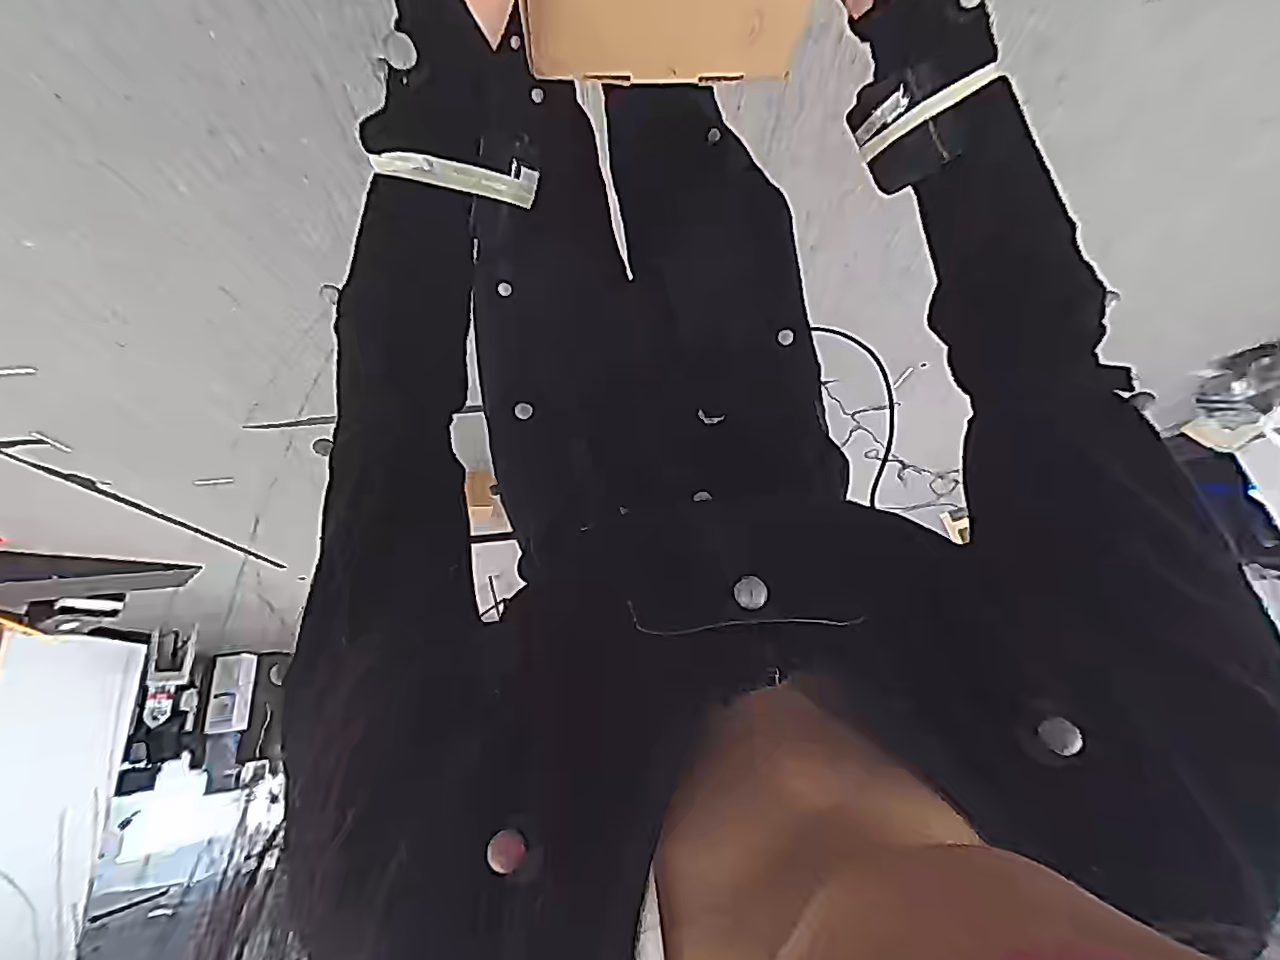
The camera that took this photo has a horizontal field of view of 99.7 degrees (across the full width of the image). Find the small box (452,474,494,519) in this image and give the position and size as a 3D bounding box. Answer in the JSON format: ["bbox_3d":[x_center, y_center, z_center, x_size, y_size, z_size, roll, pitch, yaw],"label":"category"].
[{"bbox_3d":[-0.786,0.076,2.538,0.179,0.176,0.168,0,155,-21],"label":"small box"}]
